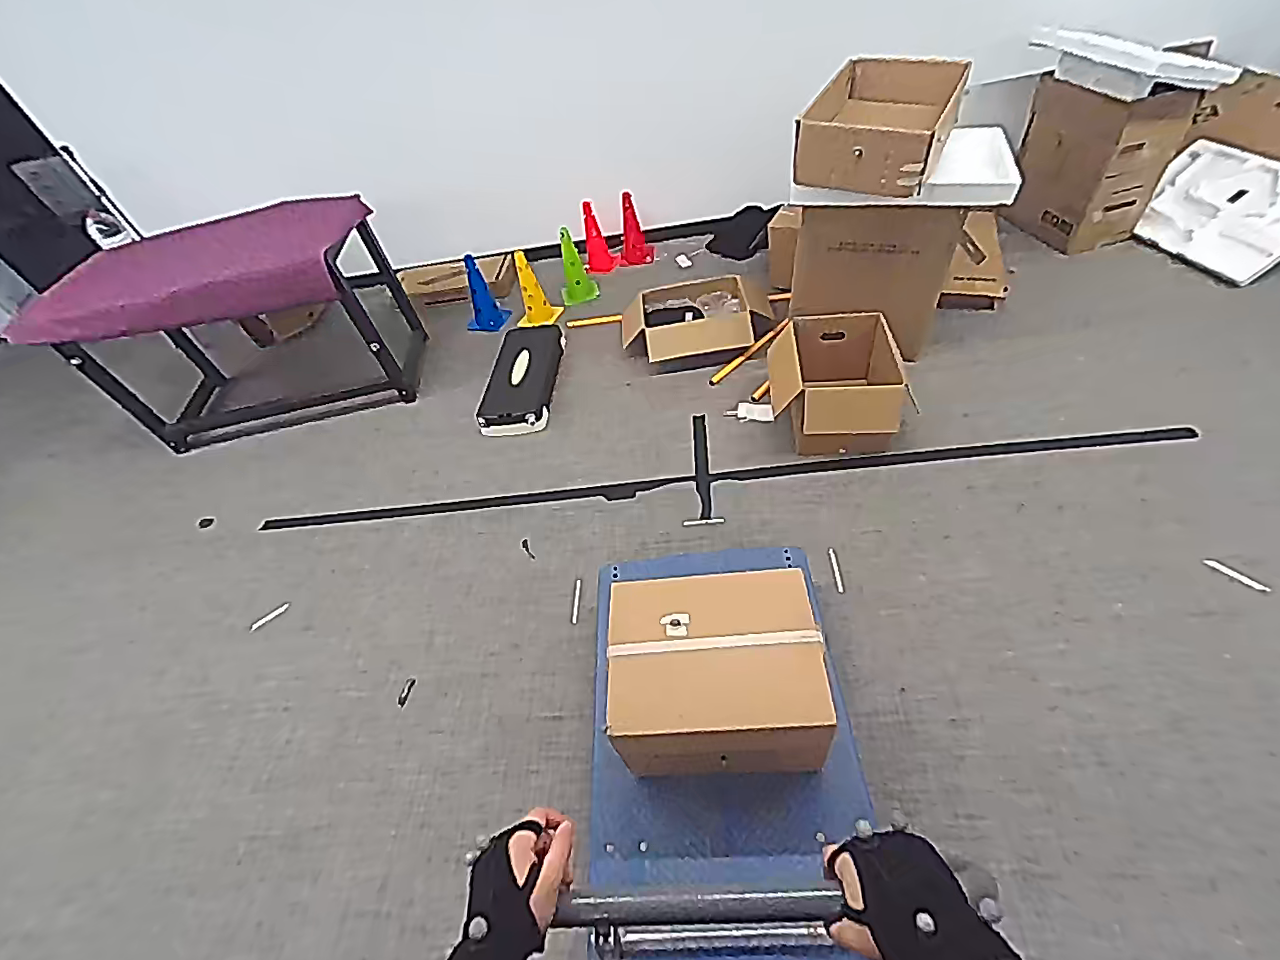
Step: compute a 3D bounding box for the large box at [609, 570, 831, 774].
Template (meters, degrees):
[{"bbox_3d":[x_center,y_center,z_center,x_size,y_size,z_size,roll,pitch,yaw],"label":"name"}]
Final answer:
[{"bbox_3d":[0.164,0.425,1.172,0.408,0.320,0.320,-7,47,7],"label":"large box"}]
